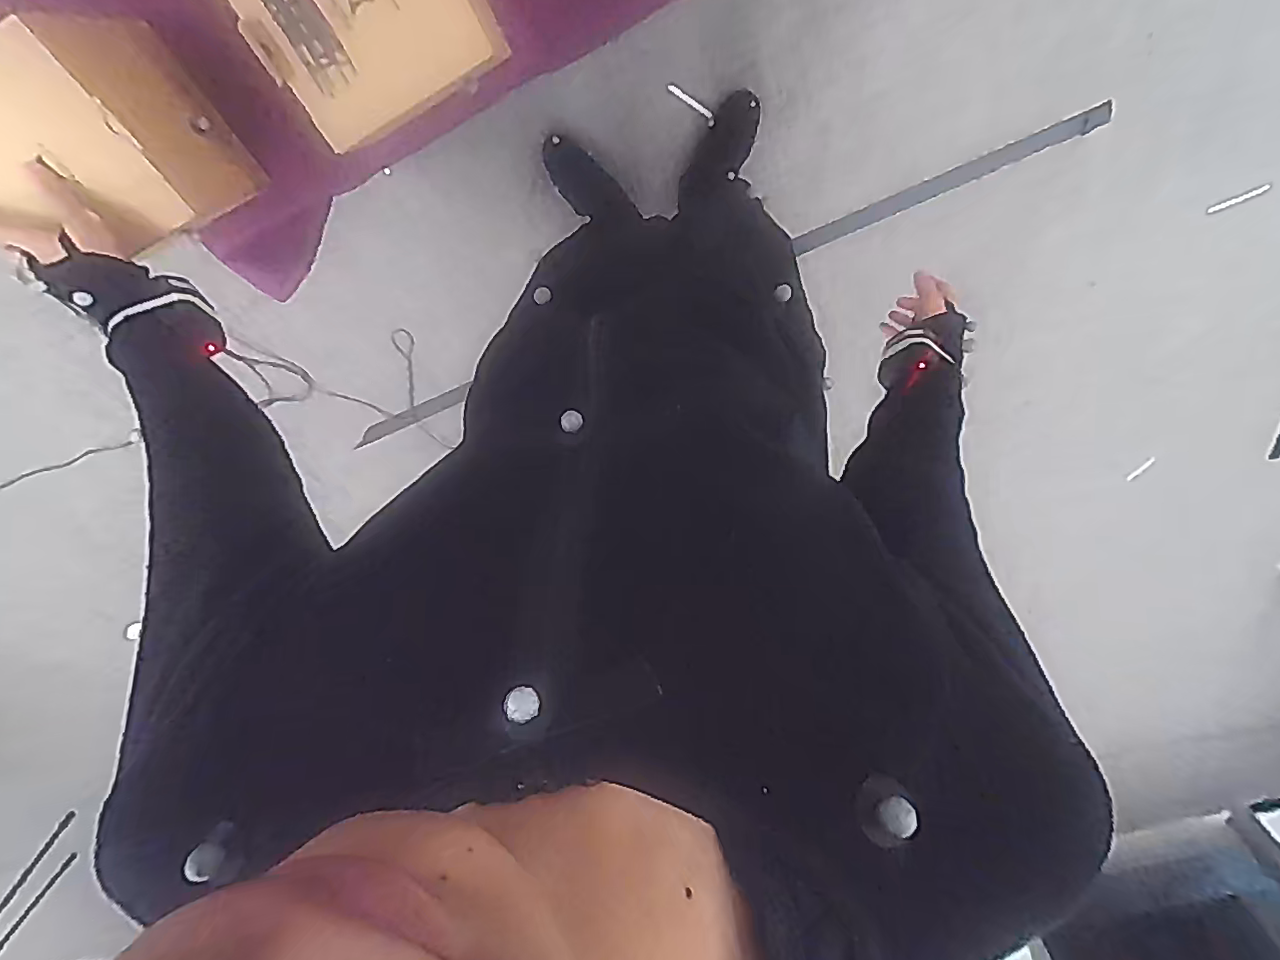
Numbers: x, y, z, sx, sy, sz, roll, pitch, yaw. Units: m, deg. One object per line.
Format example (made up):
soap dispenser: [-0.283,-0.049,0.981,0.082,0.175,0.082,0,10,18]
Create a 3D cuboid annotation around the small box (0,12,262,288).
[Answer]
small box: [-0.543,-0.331,0.552,0.179,0.176,0.168,-23,128,10]
